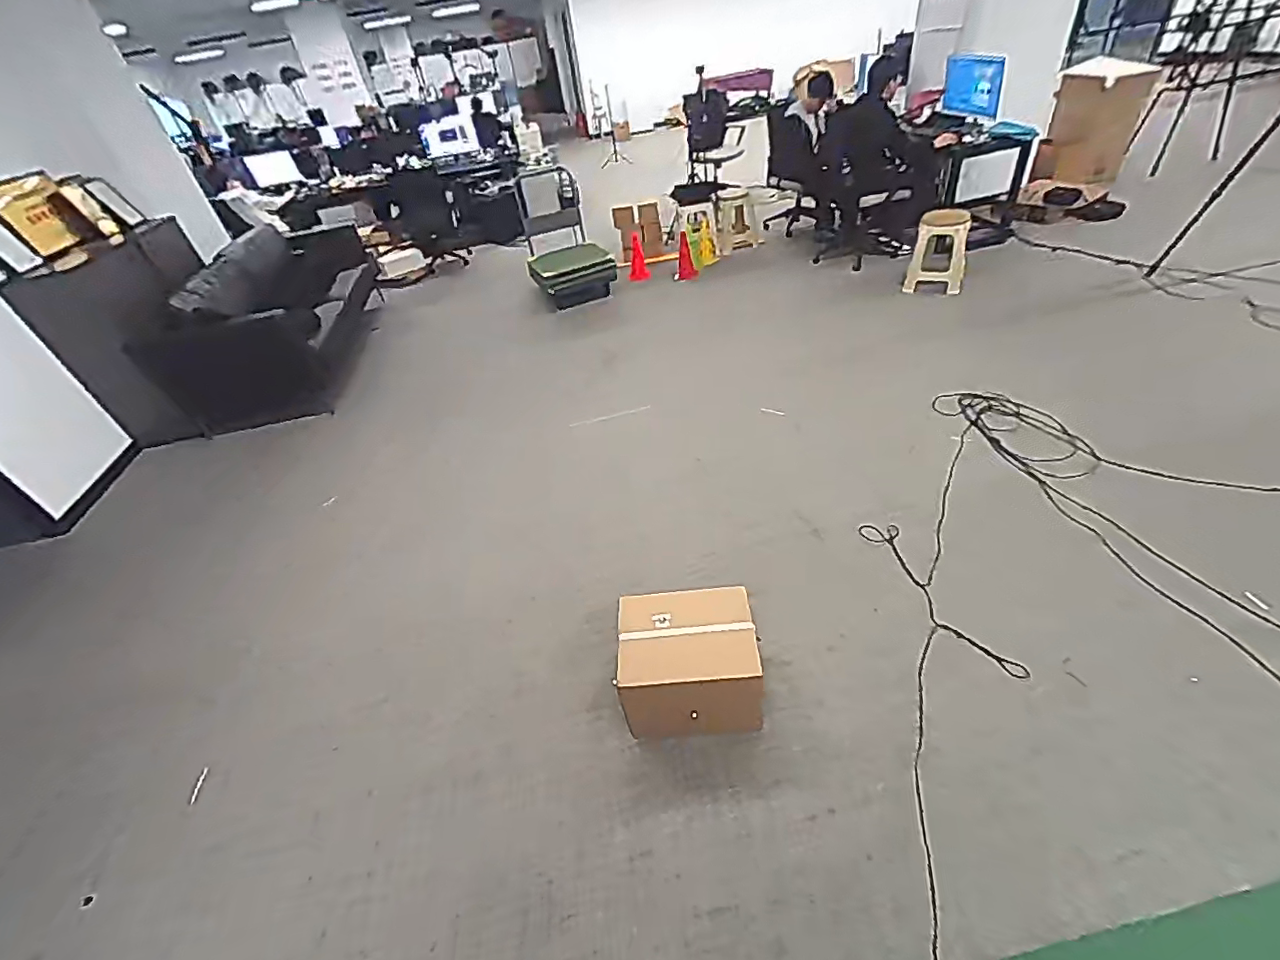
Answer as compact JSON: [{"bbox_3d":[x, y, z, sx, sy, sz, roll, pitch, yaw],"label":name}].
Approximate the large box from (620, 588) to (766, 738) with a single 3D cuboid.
[{"bbox_3d":[0.163,0.573,1.687,0.408,0.320,0.320,-7,39,6],"label":"large box"}]
